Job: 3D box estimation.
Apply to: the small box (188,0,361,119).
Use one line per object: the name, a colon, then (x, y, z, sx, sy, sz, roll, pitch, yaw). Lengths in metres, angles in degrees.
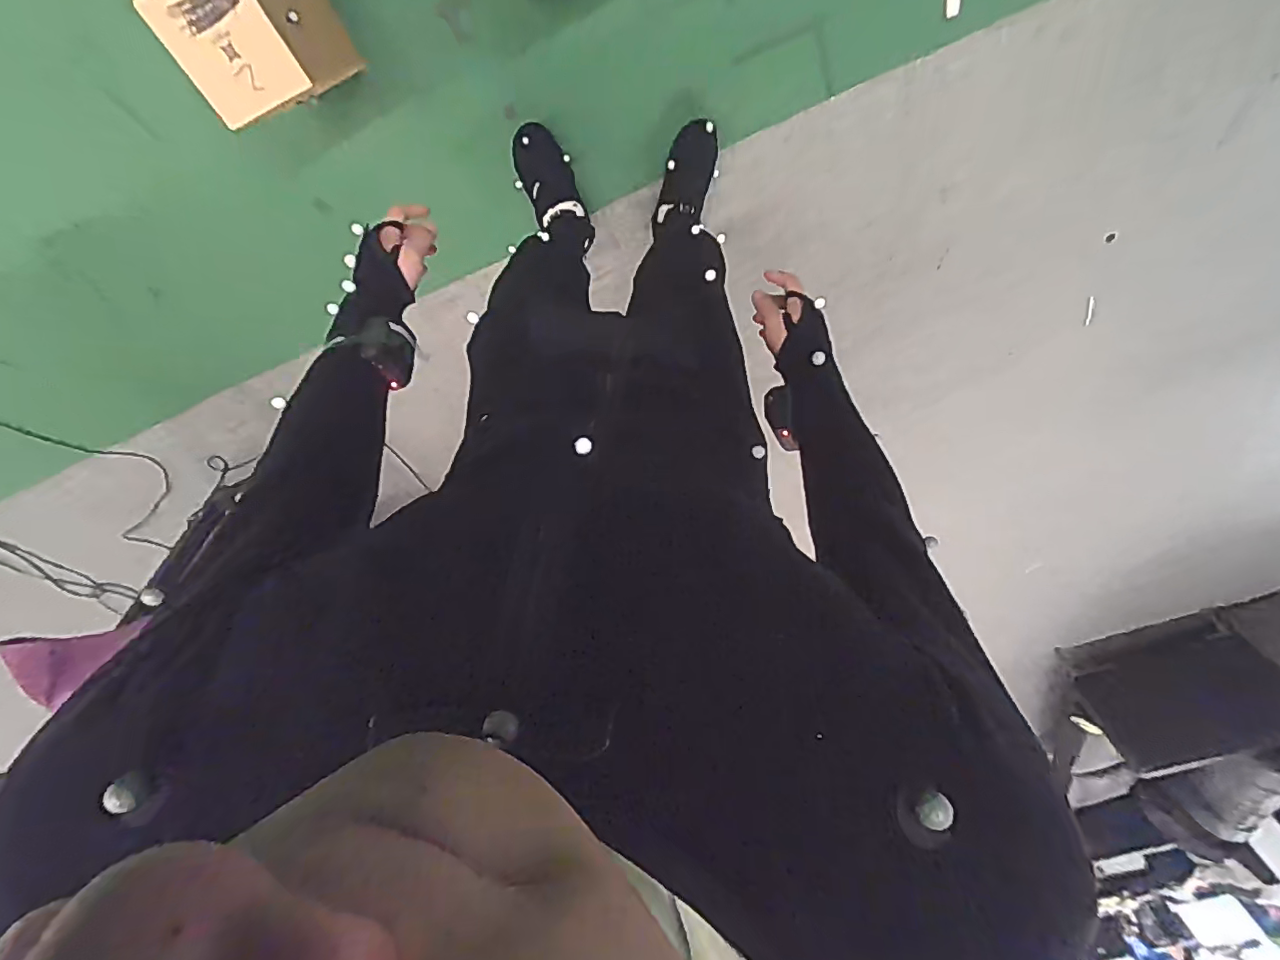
small box: (-0.654, -0.809, 0.998, 0.168, 0.176, 0.179, -21, 130, 9)
